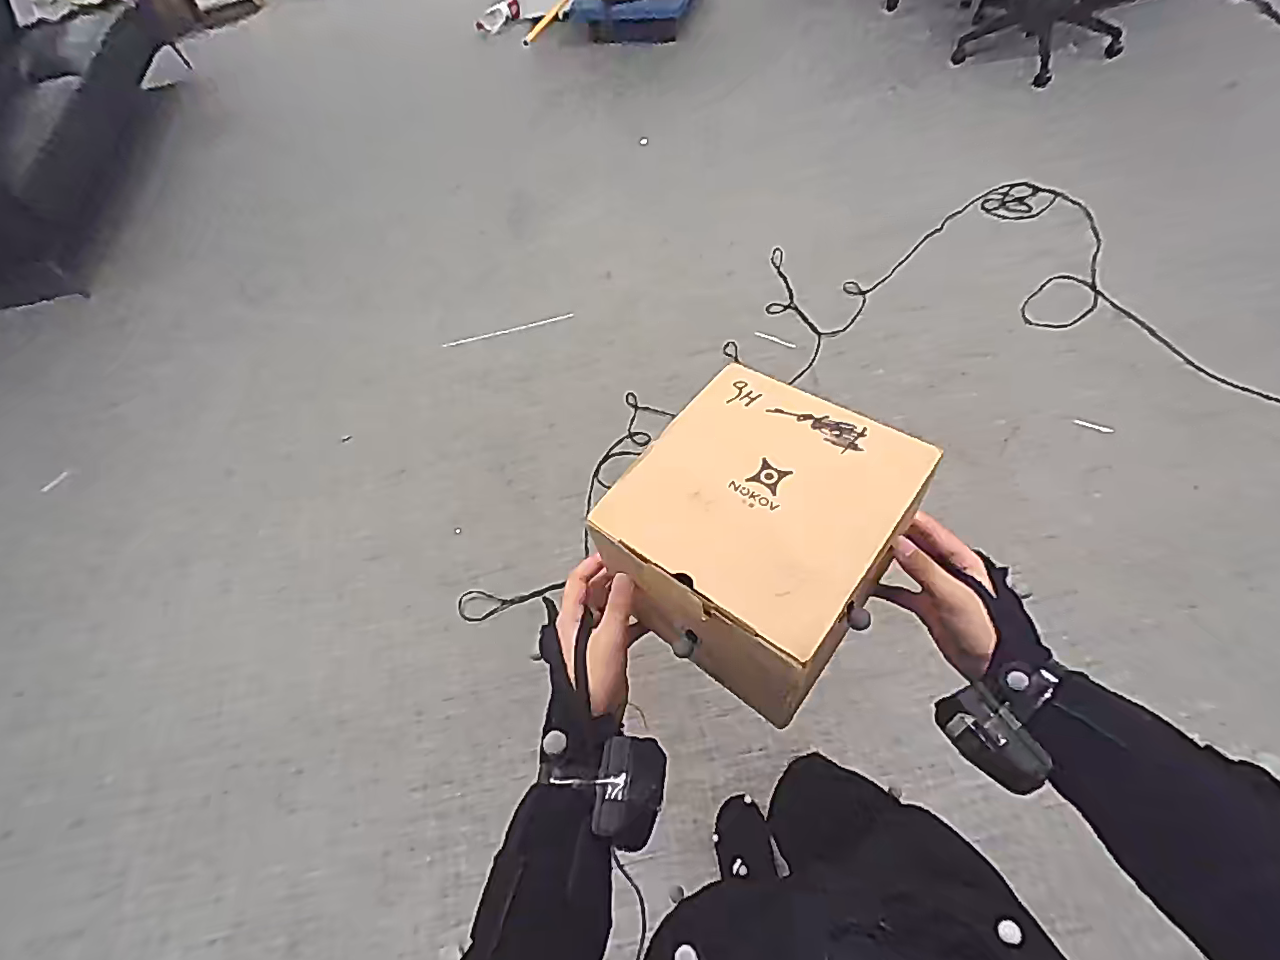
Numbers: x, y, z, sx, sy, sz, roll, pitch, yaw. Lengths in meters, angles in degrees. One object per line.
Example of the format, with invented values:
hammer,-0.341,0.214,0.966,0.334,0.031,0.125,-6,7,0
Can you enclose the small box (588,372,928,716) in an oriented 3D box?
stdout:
small box,0.091,0.054,0.428,0.168,0.176,0.179,31,66,28
